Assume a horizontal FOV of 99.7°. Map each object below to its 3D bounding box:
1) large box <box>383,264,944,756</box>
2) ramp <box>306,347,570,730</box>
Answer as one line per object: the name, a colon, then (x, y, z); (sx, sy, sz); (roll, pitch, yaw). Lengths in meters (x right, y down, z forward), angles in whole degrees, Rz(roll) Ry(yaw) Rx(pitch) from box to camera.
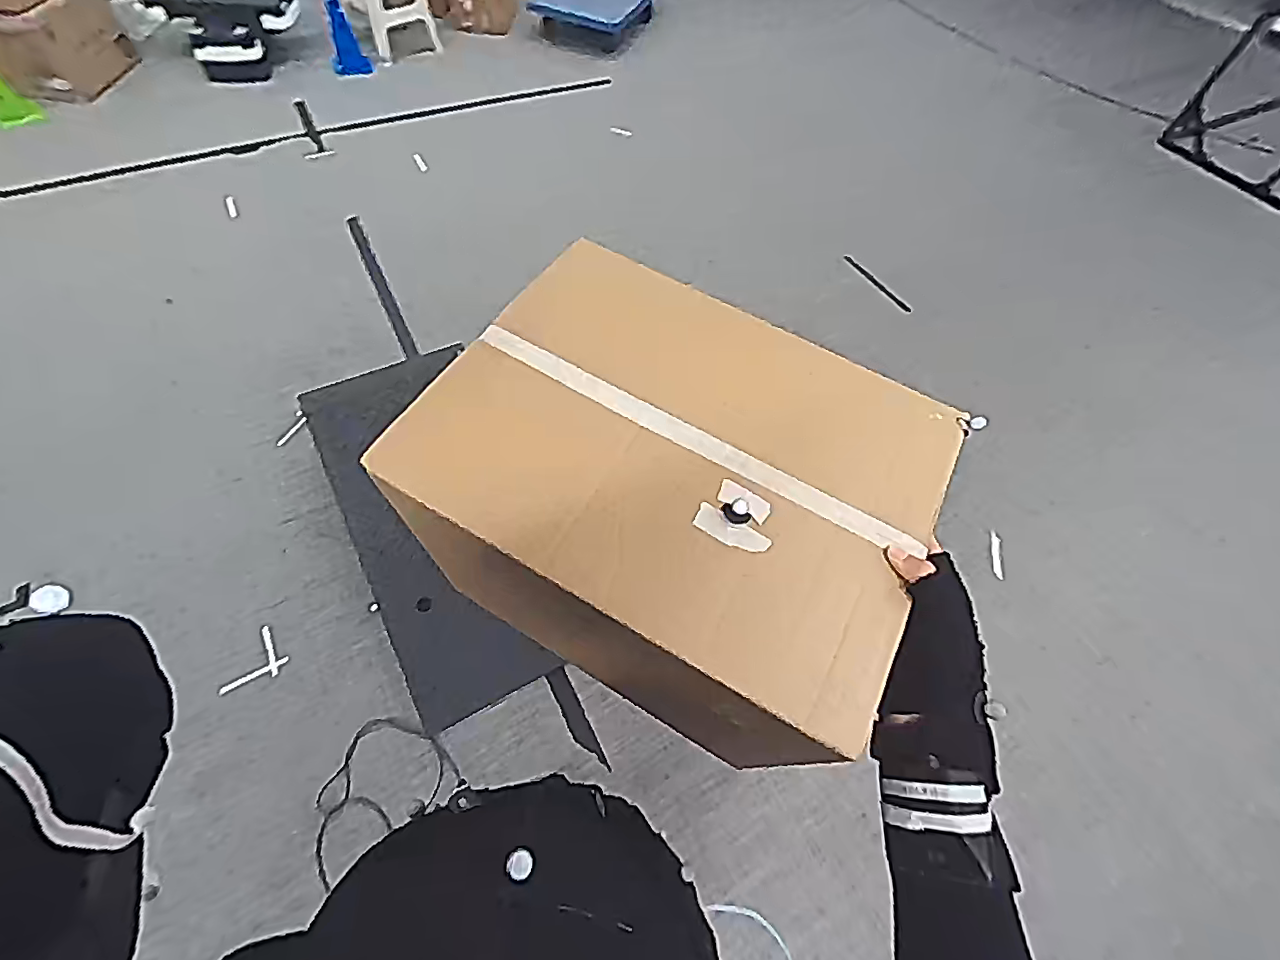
large box: (0.024, 0.045, 0.592); (0.408, 0.320, 0.320); (28, 63, 10)
ramp: (-0.516, 0.092, 1.497); (0.509, 0.206, 0.991); (-25, 64, -20)
